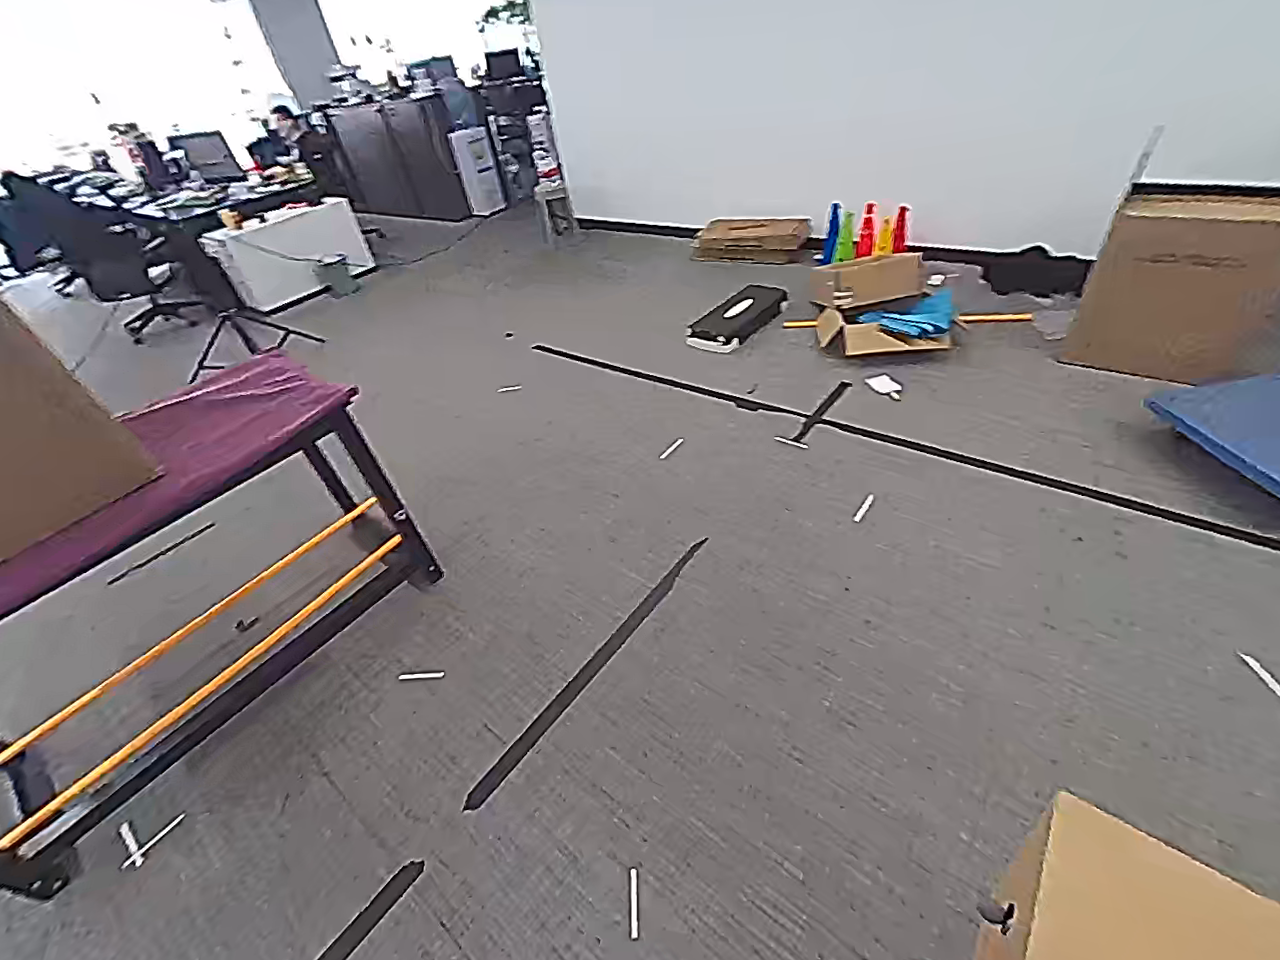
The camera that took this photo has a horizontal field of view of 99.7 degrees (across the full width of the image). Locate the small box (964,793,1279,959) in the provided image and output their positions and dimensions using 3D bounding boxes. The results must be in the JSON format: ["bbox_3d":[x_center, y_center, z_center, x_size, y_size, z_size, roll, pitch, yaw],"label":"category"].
[{"bbox_3d":[0.291,0.339,0.310,0.179,0.176,0.168,22,40,34],"label":"small box"}]
